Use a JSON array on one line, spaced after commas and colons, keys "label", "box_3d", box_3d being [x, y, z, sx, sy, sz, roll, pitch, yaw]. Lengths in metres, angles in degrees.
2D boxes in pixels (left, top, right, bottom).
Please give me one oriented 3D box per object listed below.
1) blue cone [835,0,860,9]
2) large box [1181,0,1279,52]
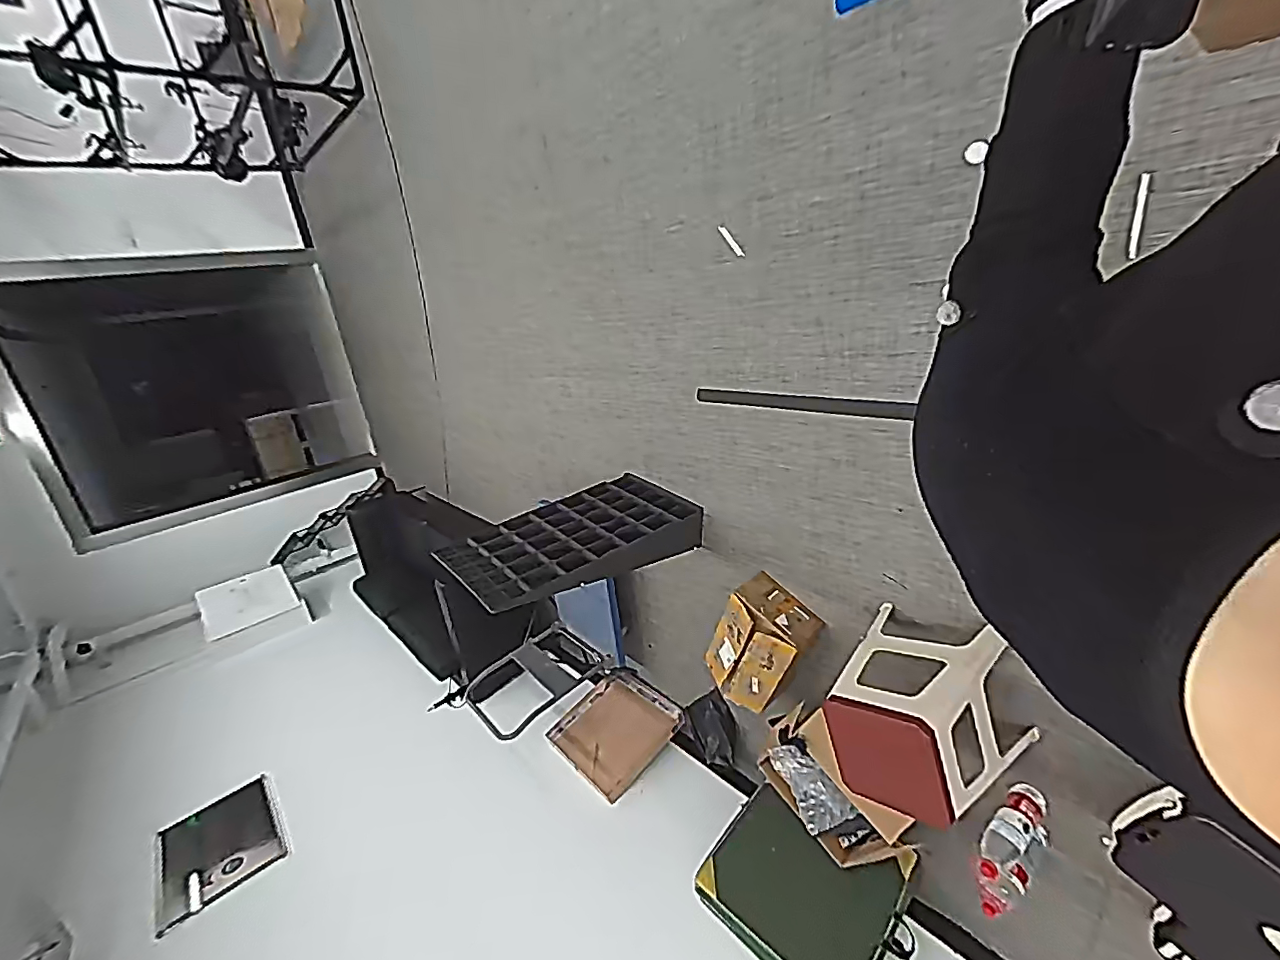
[{"label": "blue cone", "box_3d": [0.405, -1.165, 1.132, 0.192, 0.380, 0.193, 20, 123, 46]}, {"label": "large box", "box_3d": [0.538, -0.460, 0.228, 0.408, 0.320, 0.320, 15, 121, 45]}]
